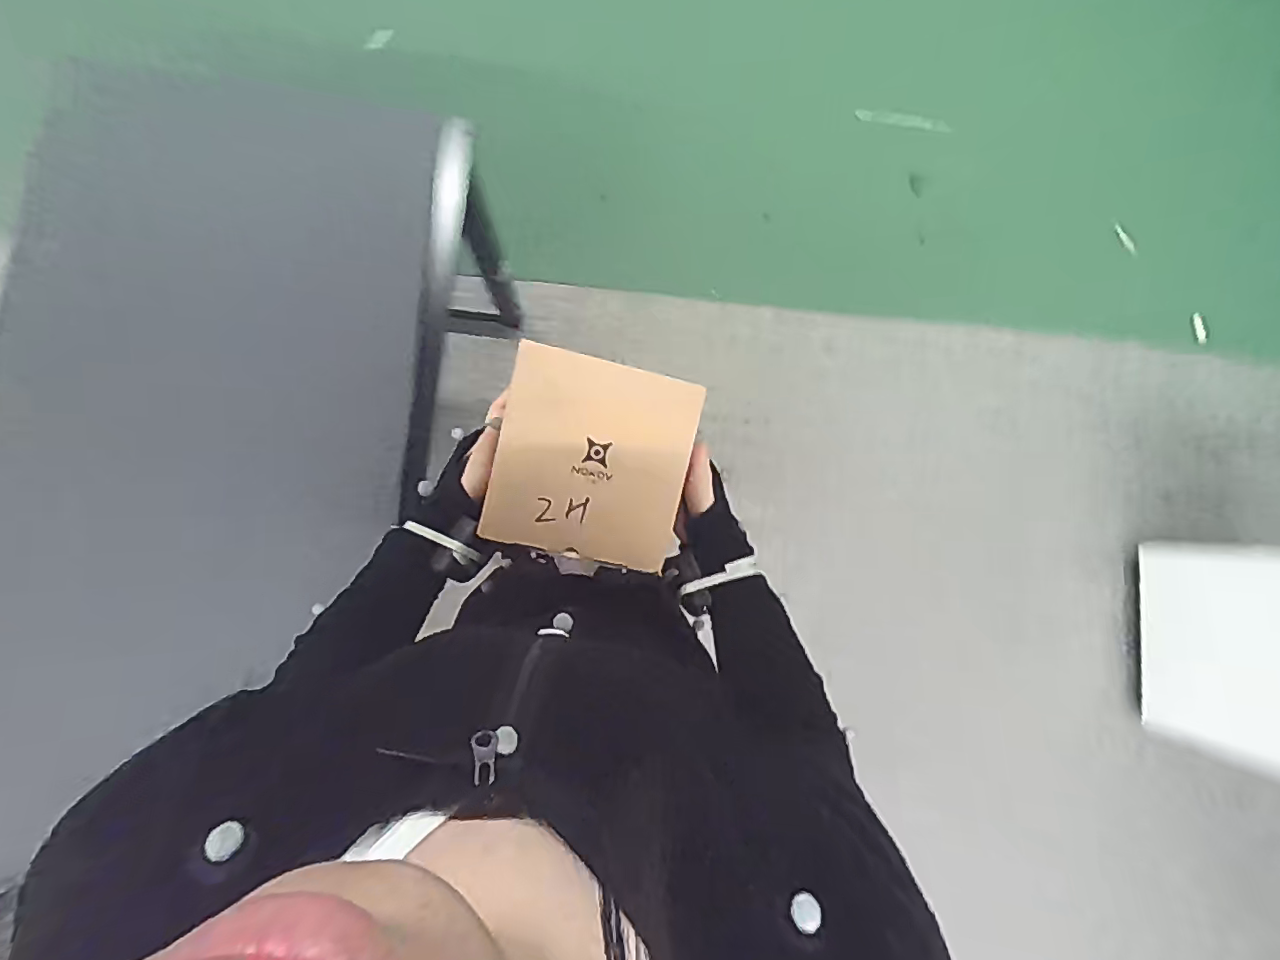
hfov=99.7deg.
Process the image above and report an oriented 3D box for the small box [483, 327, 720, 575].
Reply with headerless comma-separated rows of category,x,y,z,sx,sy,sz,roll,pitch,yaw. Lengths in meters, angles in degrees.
small box,-0.040,-0.028,0.528,0.168,0.176,0.179,14,94,-7
